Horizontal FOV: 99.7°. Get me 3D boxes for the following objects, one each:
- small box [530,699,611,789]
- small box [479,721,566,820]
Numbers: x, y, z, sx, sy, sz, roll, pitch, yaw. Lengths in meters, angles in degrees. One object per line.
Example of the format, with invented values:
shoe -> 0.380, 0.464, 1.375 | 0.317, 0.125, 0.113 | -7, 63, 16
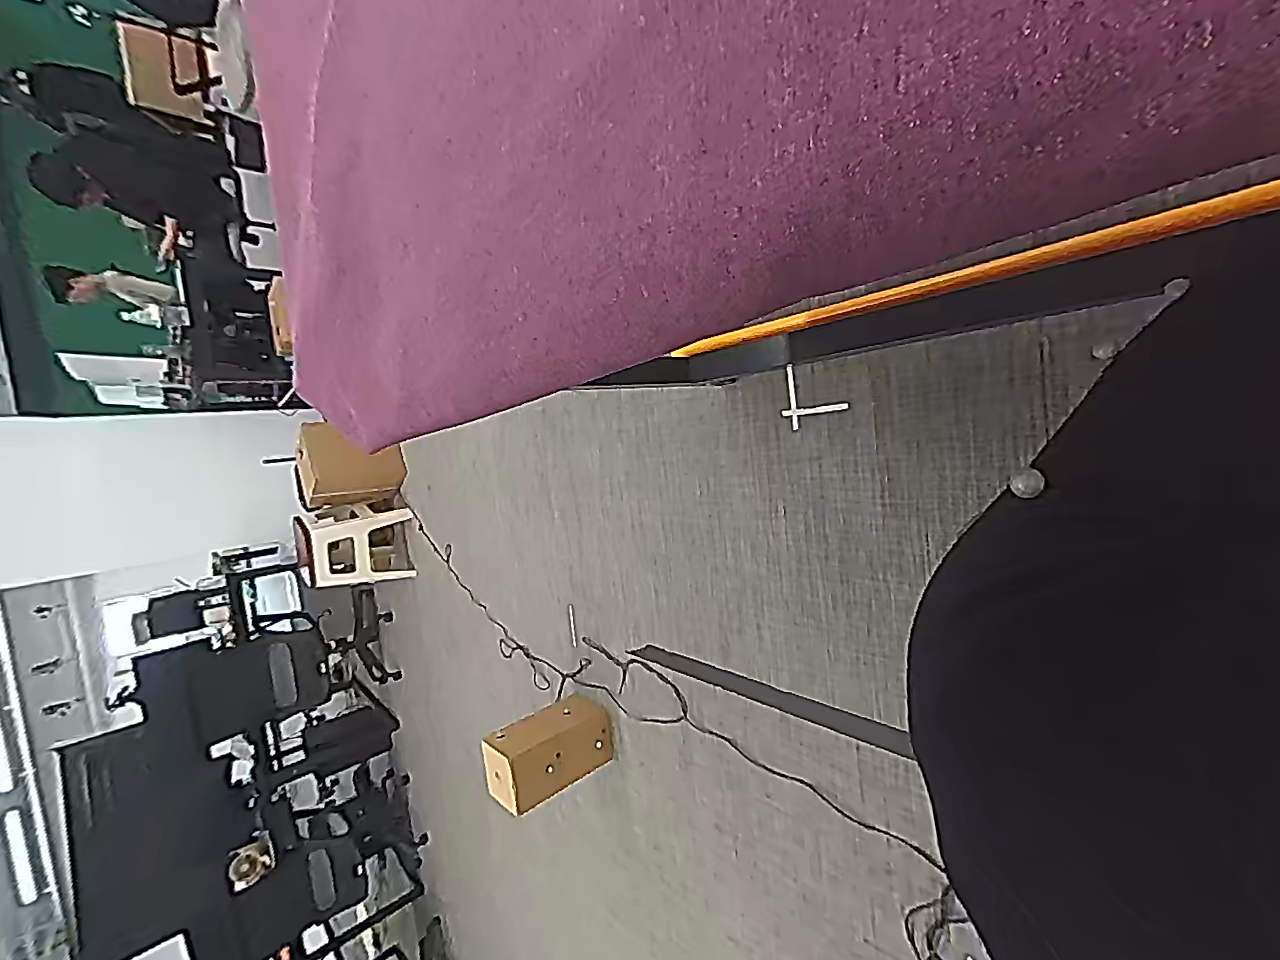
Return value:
small box -> -0.210, 0.790, 1.645 | 0.179, 0.176, 0.168 | -2, 97, 48
small box -> -0.333, 0.812, 1.537 | 0.179, 0.176, 0.168 | -4, 95, 49
